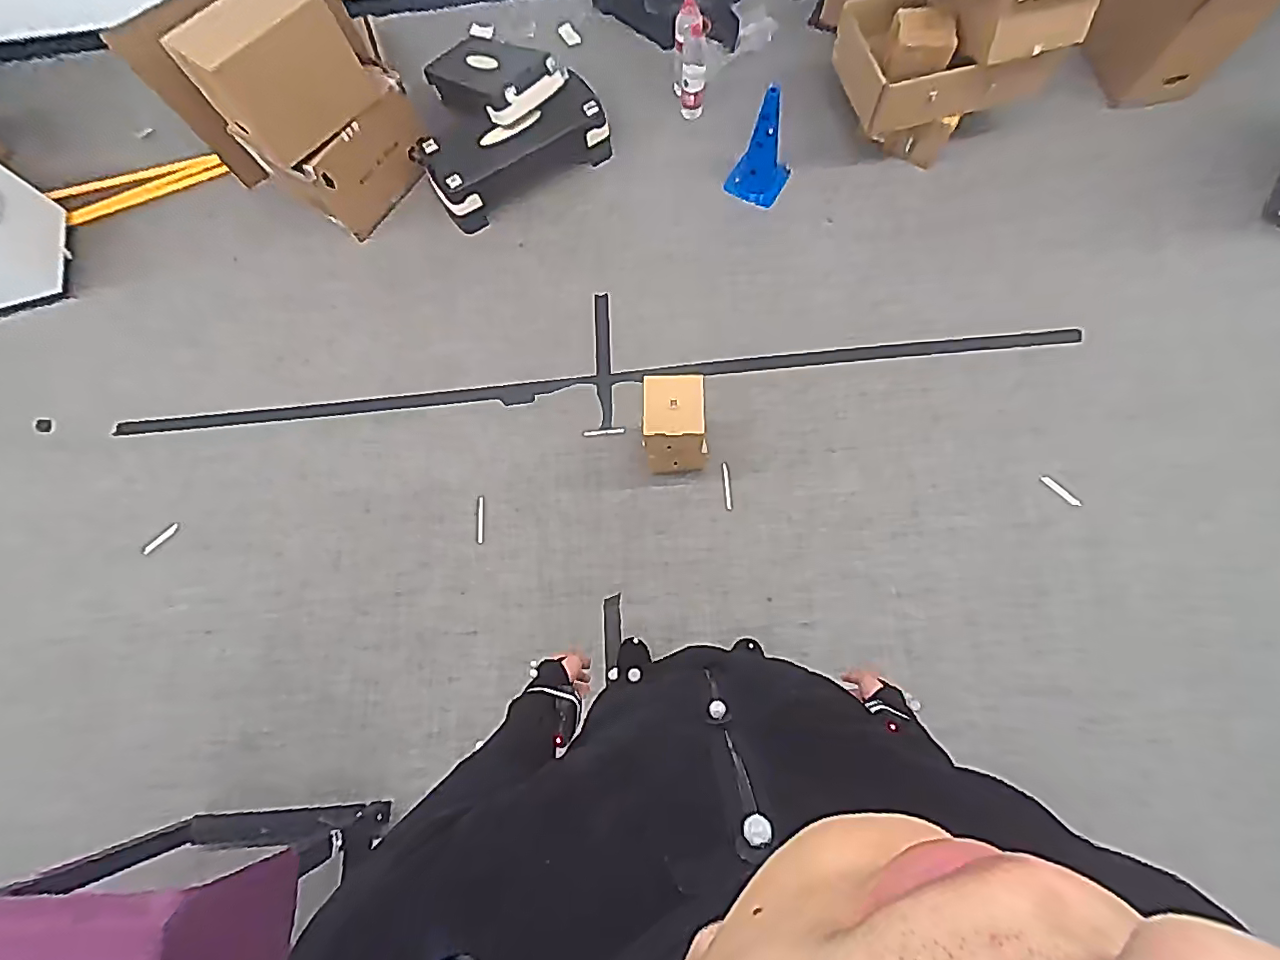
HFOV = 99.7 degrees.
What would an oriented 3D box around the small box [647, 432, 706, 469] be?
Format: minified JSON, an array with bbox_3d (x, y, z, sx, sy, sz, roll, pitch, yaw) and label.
[{"bbox_3d":[0.108,-0.140,1.701,0.179,0.176,0.168,-5,74,3],"label":"small box"}]

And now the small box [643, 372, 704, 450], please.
[{"bbox_3d":[0.094,-0.194,1.548,0.168,0.176,0.179,0,75,3],"label":"small box"}]
